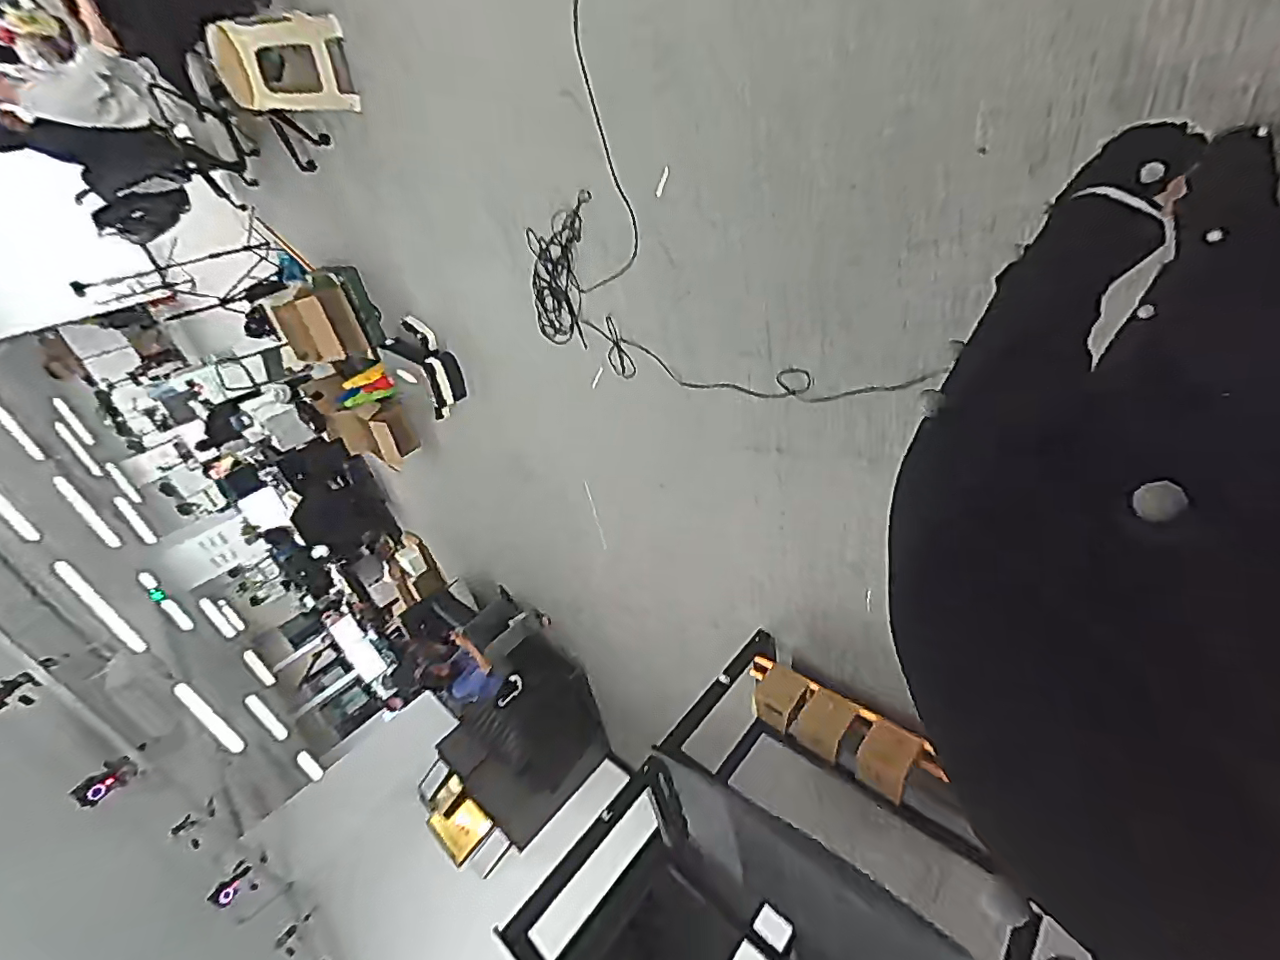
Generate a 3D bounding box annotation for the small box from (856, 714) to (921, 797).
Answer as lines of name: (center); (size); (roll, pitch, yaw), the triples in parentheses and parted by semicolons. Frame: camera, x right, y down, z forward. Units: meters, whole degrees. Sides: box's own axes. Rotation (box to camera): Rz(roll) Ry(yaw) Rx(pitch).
small box: (0.919, 1.012, 1.998); (0.168, 0.176, 0.179); (21, 132, 41)
